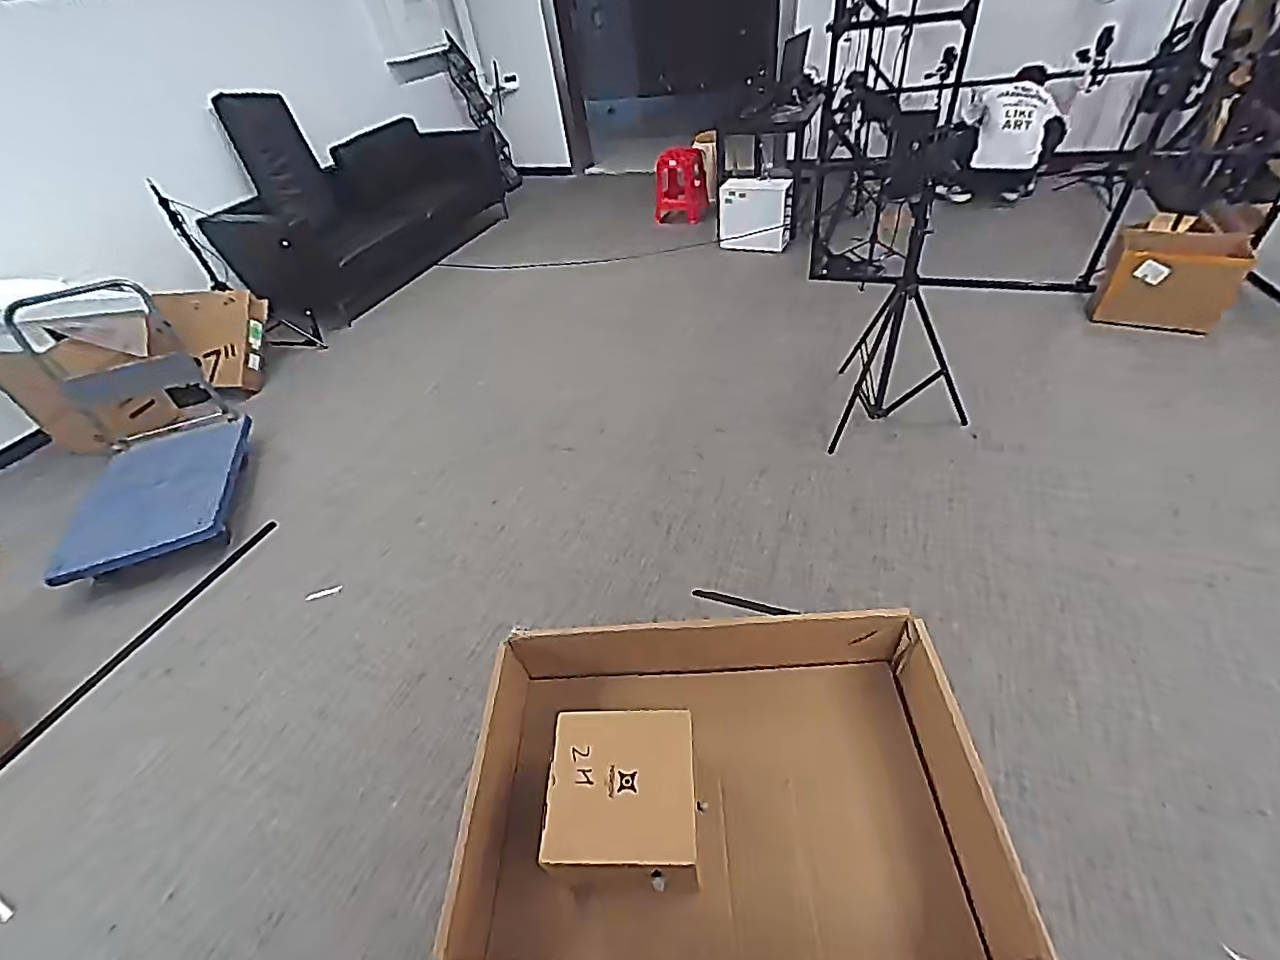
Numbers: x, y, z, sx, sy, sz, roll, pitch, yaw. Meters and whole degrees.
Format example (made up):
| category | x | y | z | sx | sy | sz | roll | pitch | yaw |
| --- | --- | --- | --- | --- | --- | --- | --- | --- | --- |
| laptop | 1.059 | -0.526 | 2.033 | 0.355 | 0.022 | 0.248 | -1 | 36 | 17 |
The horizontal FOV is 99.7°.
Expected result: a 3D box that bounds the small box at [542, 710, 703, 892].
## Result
| category | x | y | z | sx | sy | sz | roll | pitch | yaw |
| --- | --- | --- | --- | --- | --- | --- | --- | --- | --- |
| small box | -0.011 | 0.411 | 0.694 | 0.179 | 0.176 | 0.168 | -3 | 44 | 5 |
